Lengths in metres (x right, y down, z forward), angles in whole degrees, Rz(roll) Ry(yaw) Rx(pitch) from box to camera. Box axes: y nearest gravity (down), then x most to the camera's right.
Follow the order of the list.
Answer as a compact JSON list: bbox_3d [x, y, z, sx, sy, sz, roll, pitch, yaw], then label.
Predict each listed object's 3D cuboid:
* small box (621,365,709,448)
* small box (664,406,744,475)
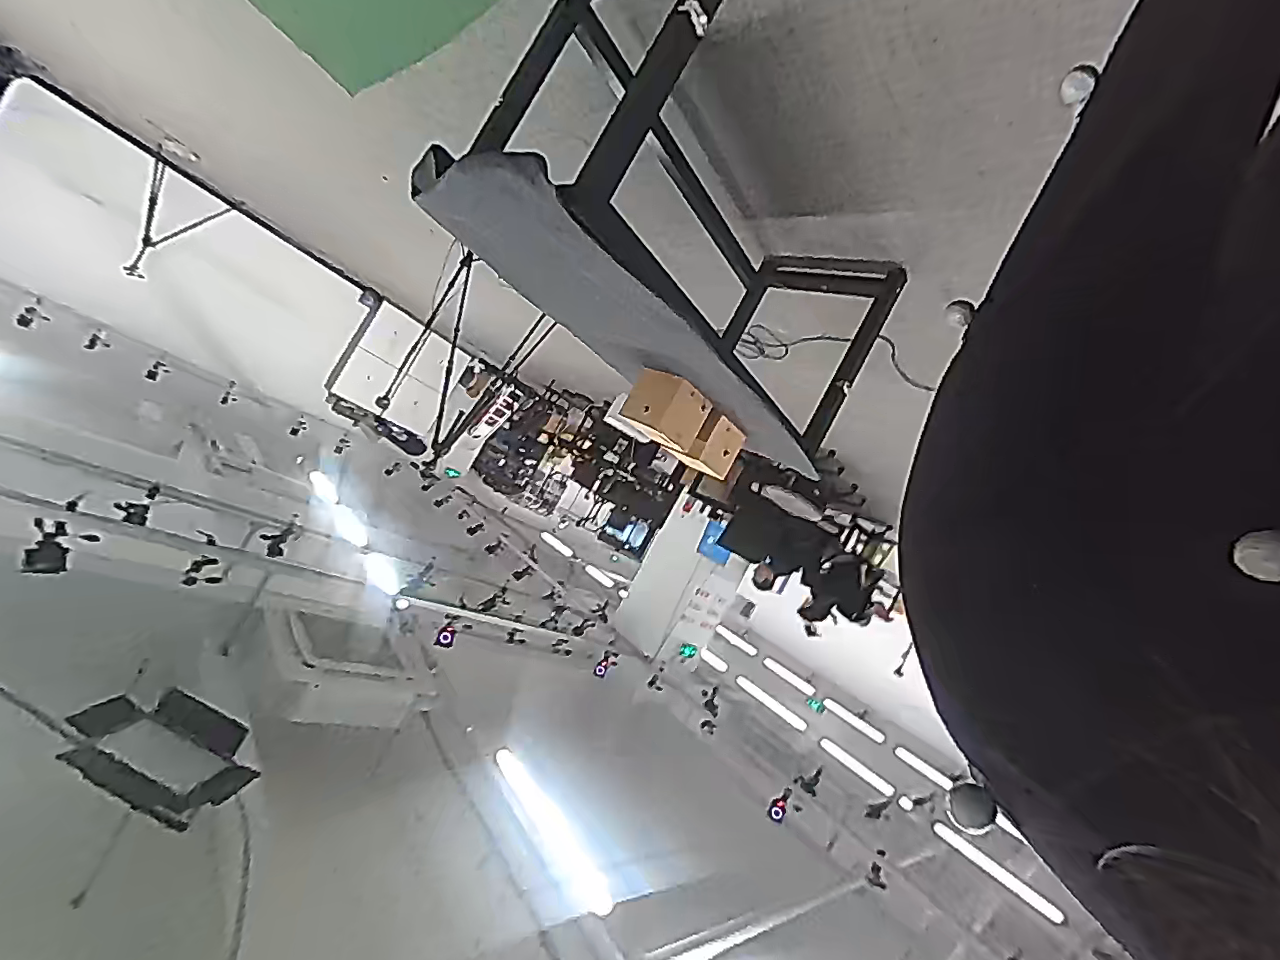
[{"bbox_3d":[0.083,-0.221,1.603,0.179,0.176,0.168,27,177,44],"label":"small box"},{"bbox_3d":[0.217,-0.143,1.763,0.179,0.176,0.168,27,177,45],"label":"small box"}]
